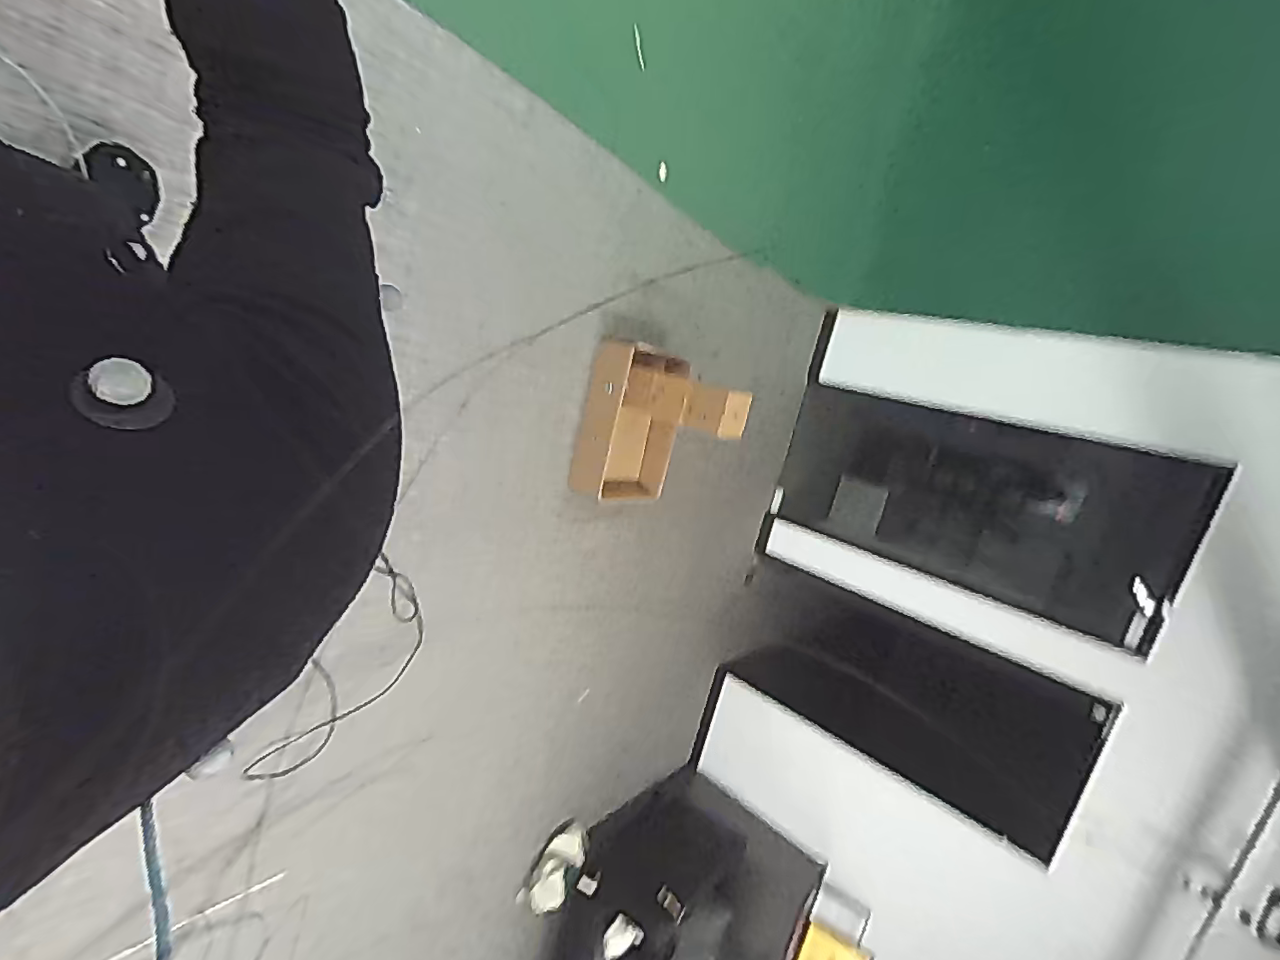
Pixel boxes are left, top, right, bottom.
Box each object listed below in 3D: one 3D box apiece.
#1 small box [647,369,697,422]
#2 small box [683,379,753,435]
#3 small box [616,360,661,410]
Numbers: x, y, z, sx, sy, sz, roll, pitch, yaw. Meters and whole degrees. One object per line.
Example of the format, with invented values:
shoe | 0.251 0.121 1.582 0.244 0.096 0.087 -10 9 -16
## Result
small box | 0.156 -0.320 2.071 0.179 0.176 0.168 -1 110 -52
small box | 0.283 -0.269 1.981 0.179 0.176 0.168 -4 113 -52
small box | 0.033 -0.373 2.163 0.179 0.176 0.168 0 108 -53
